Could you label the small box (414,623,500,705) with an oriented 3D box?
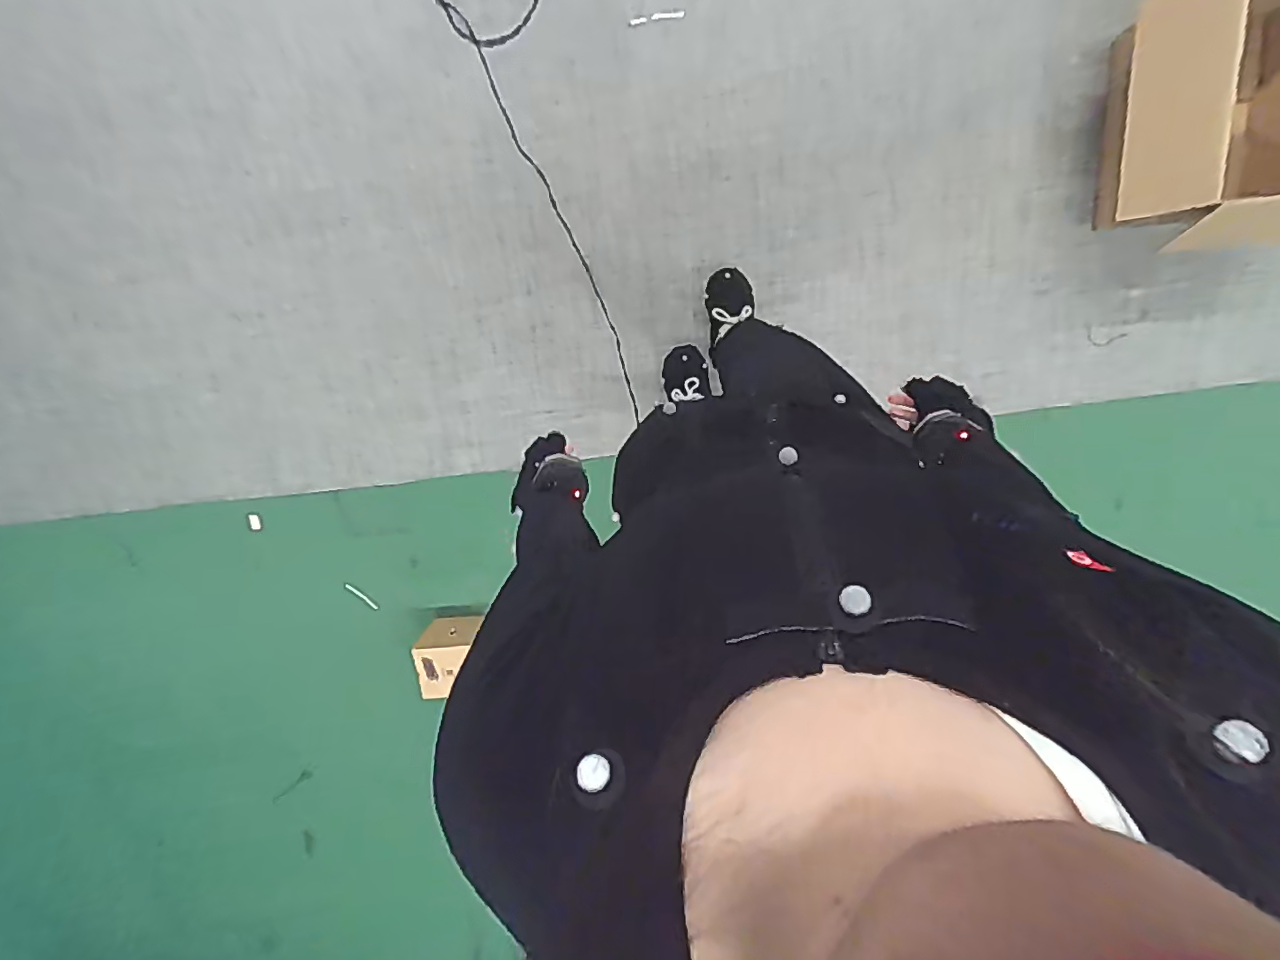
[{"bbox_3d":[-0.532,0.536,1.590,0.179,0.176,0.168,-5,105,4],"label":"small box"}]
